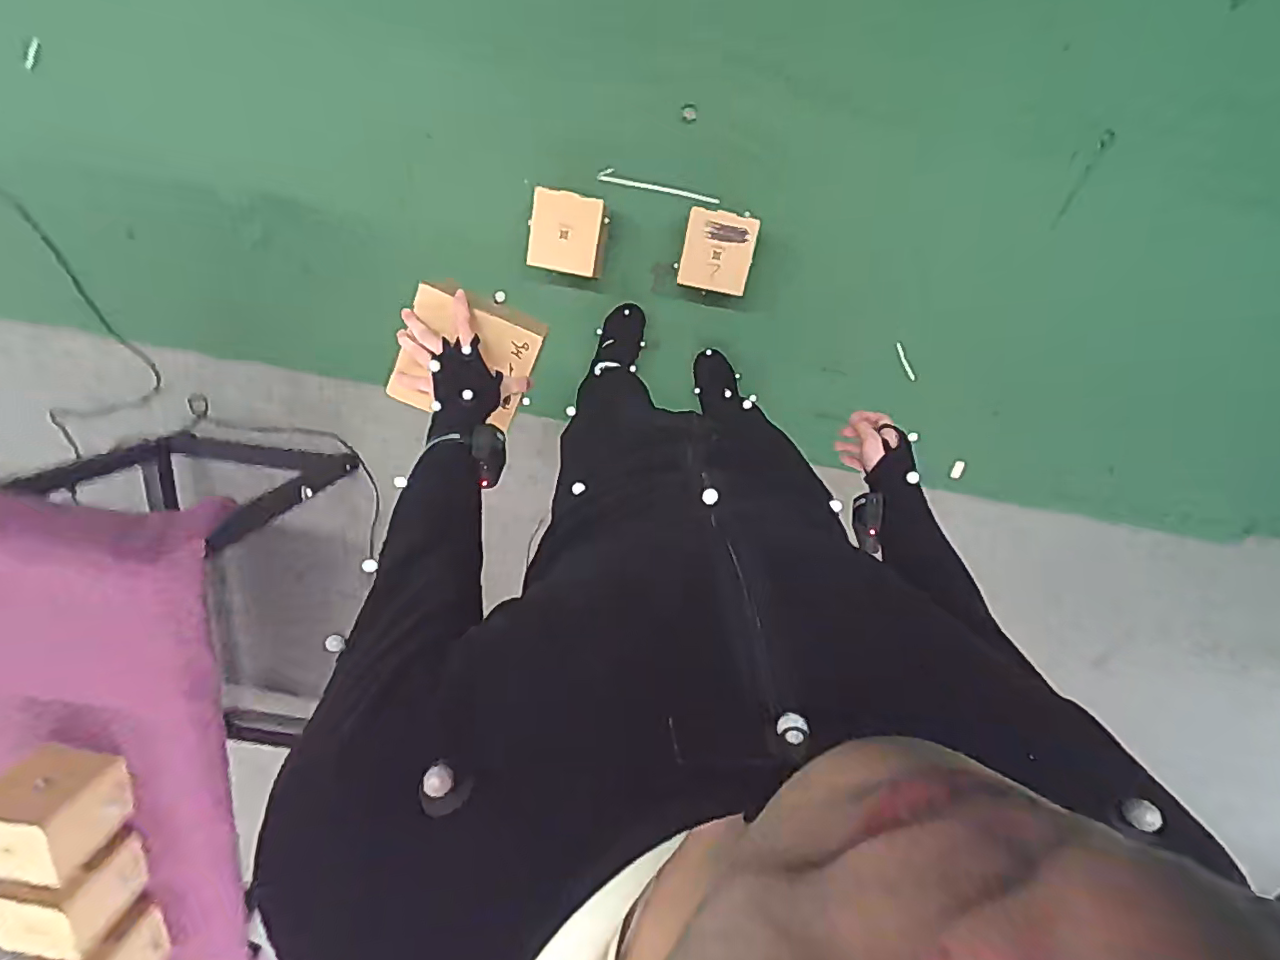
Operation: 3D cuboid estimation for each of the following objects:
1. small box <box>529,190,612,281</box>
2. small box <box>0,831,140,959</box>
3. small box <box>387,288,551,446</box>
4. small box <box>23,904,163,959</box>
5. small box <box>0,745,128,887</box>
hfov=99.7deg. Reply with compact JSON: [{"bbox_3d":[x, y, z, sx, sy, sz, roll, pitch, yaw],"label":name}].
[{"bbox_3d":[-0.171,-0.608,1.367,0.168,0.176,0.179,12,109,-1],"label":"small box"},{"bbox_3d":[-1.254,0.889,1.175,0.179,0.176,0.168,11,109,-1],"label":"small box"},{"bbox_3d":[-0.248,-0.178,0.822,0.179,0.176,0.168,22,109,-13],"label":"small box"},{"bbox_3d":[-1.277,1.123,1.258,0.179,0.176,0.168,6,110,1],"label":"small box"},{"bbox_3d":[-1.208,0.672,1.097,0.179,0.176,0.168,12,109,-2],"label":"small box"}]
